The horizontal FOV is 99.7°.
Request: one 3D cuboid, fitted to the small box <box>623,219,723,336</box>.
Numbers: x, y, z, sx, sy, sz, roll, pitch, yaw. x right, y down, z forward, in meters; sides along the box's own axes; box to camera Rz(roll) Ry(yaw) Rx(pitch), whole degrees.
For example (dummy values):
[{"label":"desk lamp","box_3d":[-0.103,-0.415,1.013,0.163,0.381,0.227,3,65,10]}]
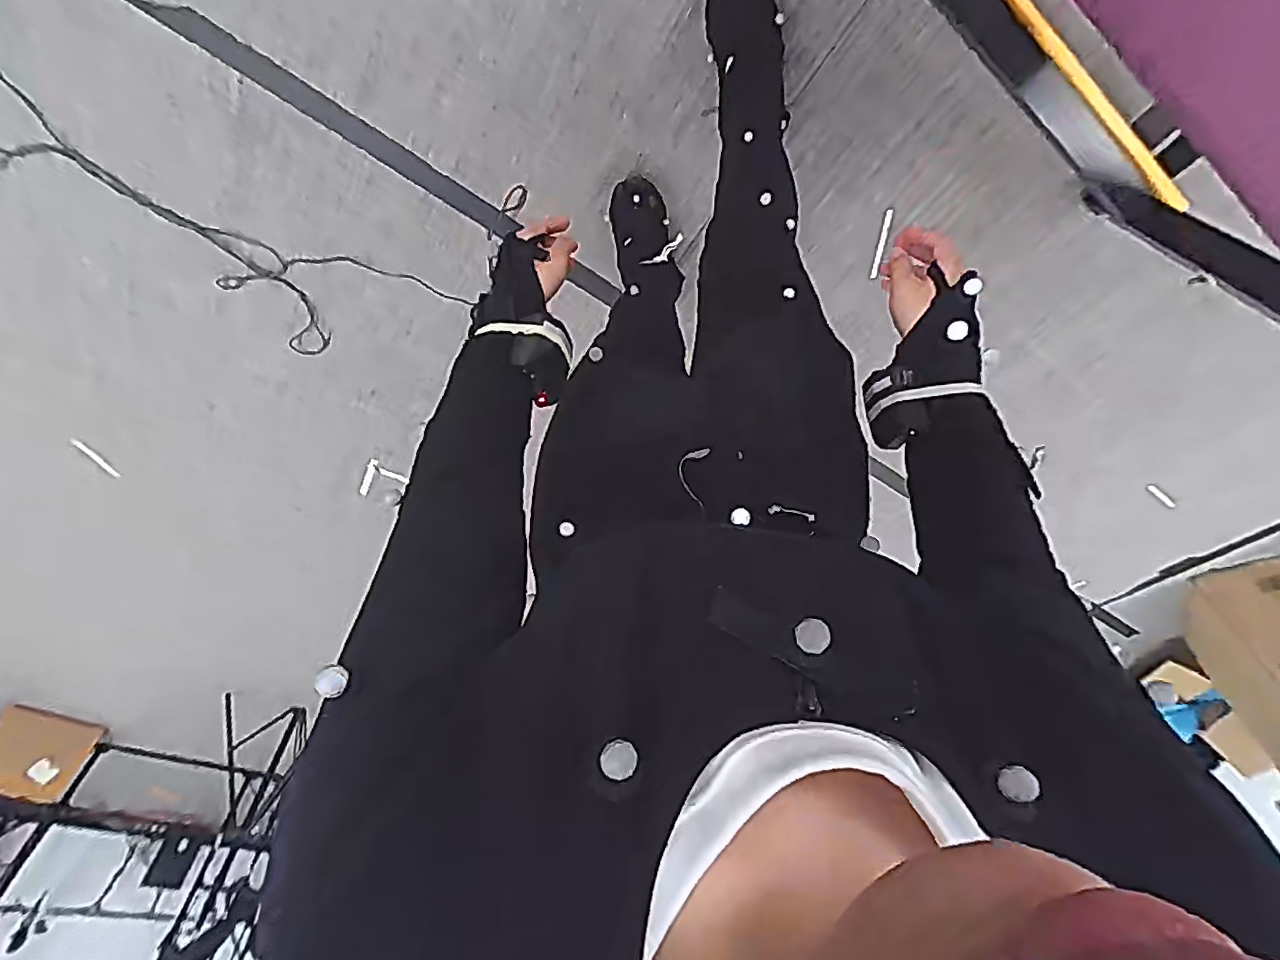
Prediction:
[{"label":"small box","box_3d":[0.062,-0.399,1.067,0.179,0.176,0.168,-4,131,1]}]
